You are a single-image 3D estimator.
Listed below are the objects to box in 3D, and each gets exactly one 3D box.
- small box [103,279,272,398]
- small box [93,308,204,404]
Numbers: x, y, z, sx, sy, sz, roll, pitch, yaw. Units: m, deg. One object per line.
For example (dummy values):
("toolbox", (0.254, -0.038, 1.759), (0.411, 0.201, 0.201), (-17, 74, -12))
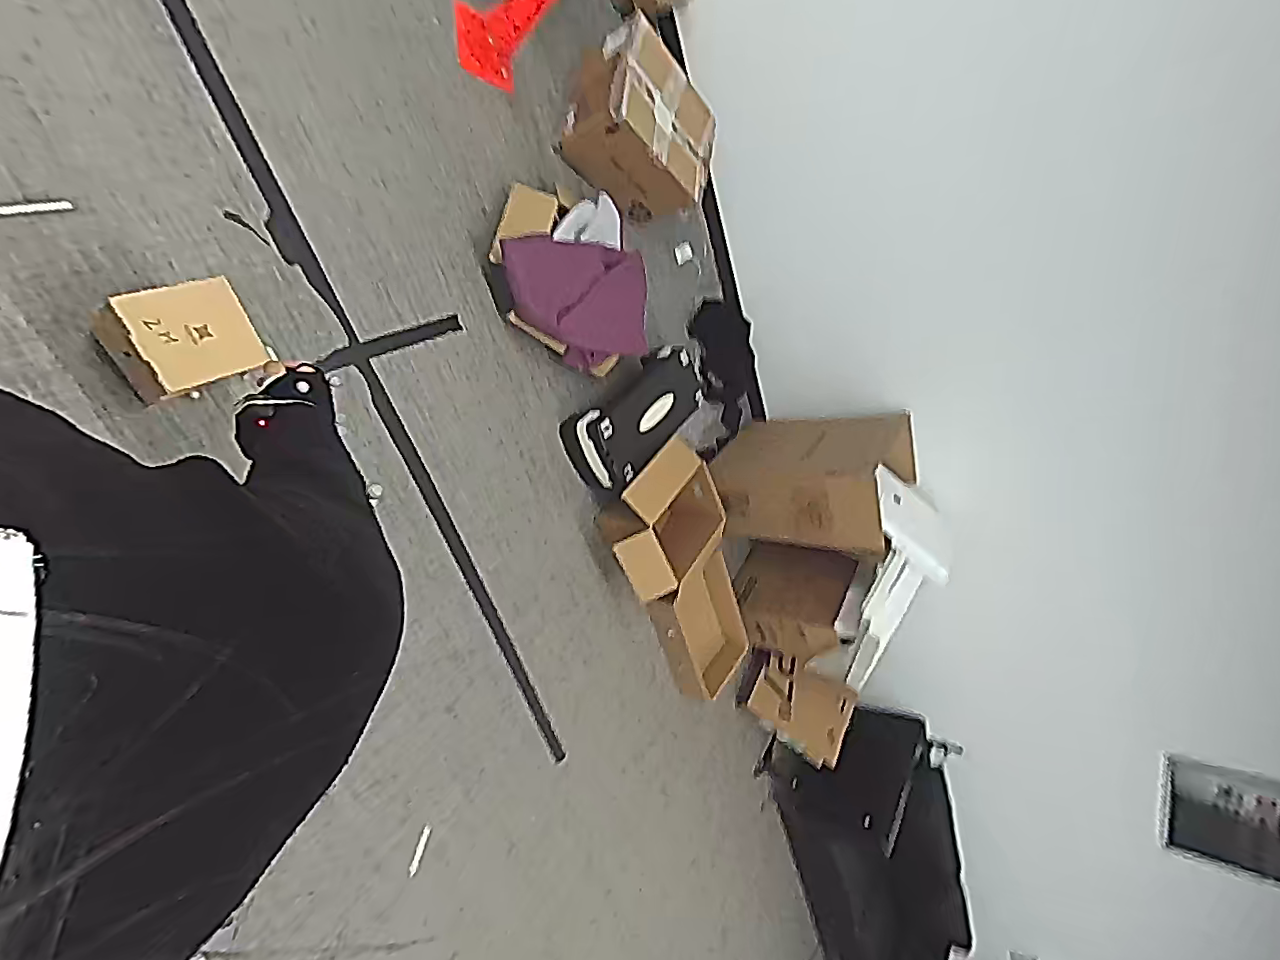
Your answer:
("small box", (-0.837, -0.259, 1.002), (0.179, 0.176, 0.168), (-37, 118, -42))
("small box", (-0.963, -0.268, 1.108), (0.168, 0.176, 0.179), (-42, 122, -40))
